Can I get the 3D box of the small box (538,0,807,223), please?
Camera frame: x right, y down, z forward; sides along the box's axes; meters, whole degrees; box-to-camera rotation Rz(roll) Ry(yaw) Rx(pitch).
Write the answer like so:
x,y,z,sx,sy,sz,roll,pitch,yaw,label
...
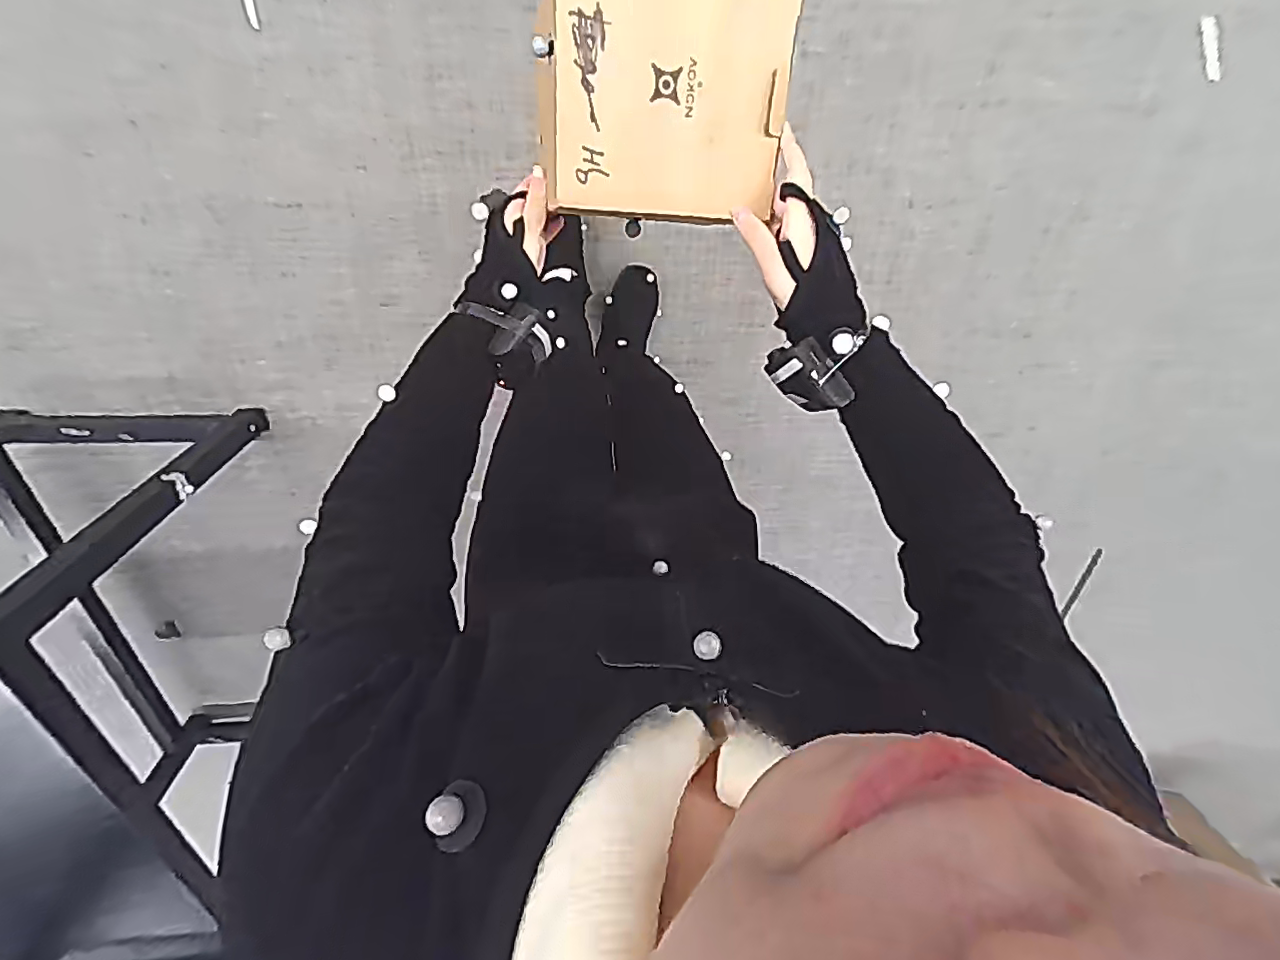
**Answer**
x,y,z,sx,sy,sz,roll,pitch,yaw,label
0.010,-0.315,0.454,0.179,0.176,0.168,-2,114,-14,small box
